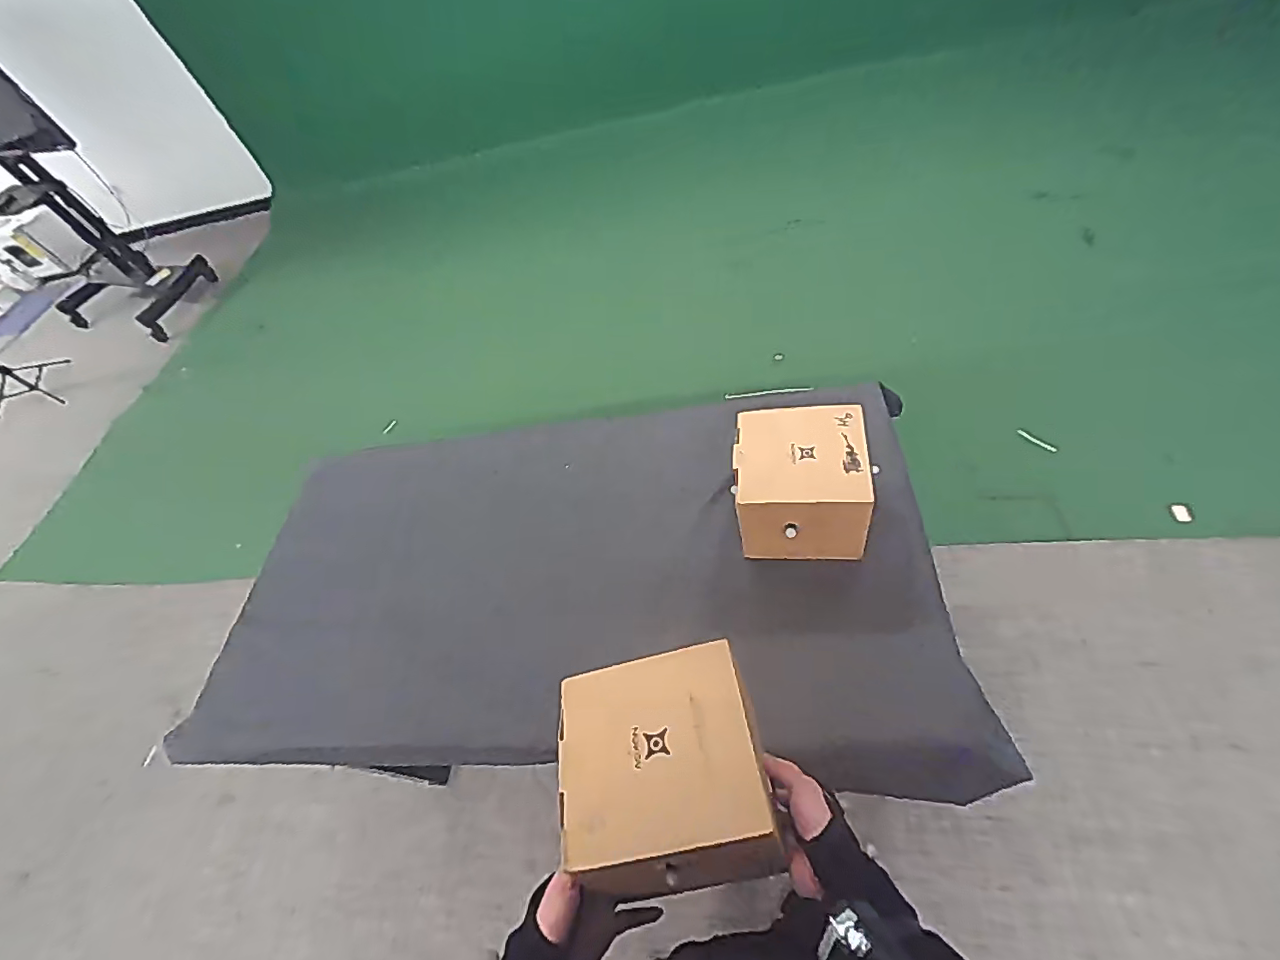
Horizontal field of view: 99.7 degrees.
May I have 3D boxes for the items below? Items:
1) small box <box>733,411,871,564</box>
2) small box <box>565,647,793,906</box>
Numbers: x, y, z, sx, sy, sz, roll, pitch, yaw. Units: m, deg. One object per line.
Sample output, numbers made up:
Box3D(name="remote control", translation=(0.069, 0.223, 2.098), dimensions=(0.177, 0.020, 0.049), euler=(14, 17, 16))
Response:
Box3D(name="small box", translation=(0.240, 0.018, 0.809), dimensions=(0.179, 0.176, 0.168), euler=(-2, 56, 16))
Box3D(name="small box", translation=(0.038, 0.295, 0.532), dimensions=(0.179, 0.176, 0.168), euler=(-16, 44, 5))
